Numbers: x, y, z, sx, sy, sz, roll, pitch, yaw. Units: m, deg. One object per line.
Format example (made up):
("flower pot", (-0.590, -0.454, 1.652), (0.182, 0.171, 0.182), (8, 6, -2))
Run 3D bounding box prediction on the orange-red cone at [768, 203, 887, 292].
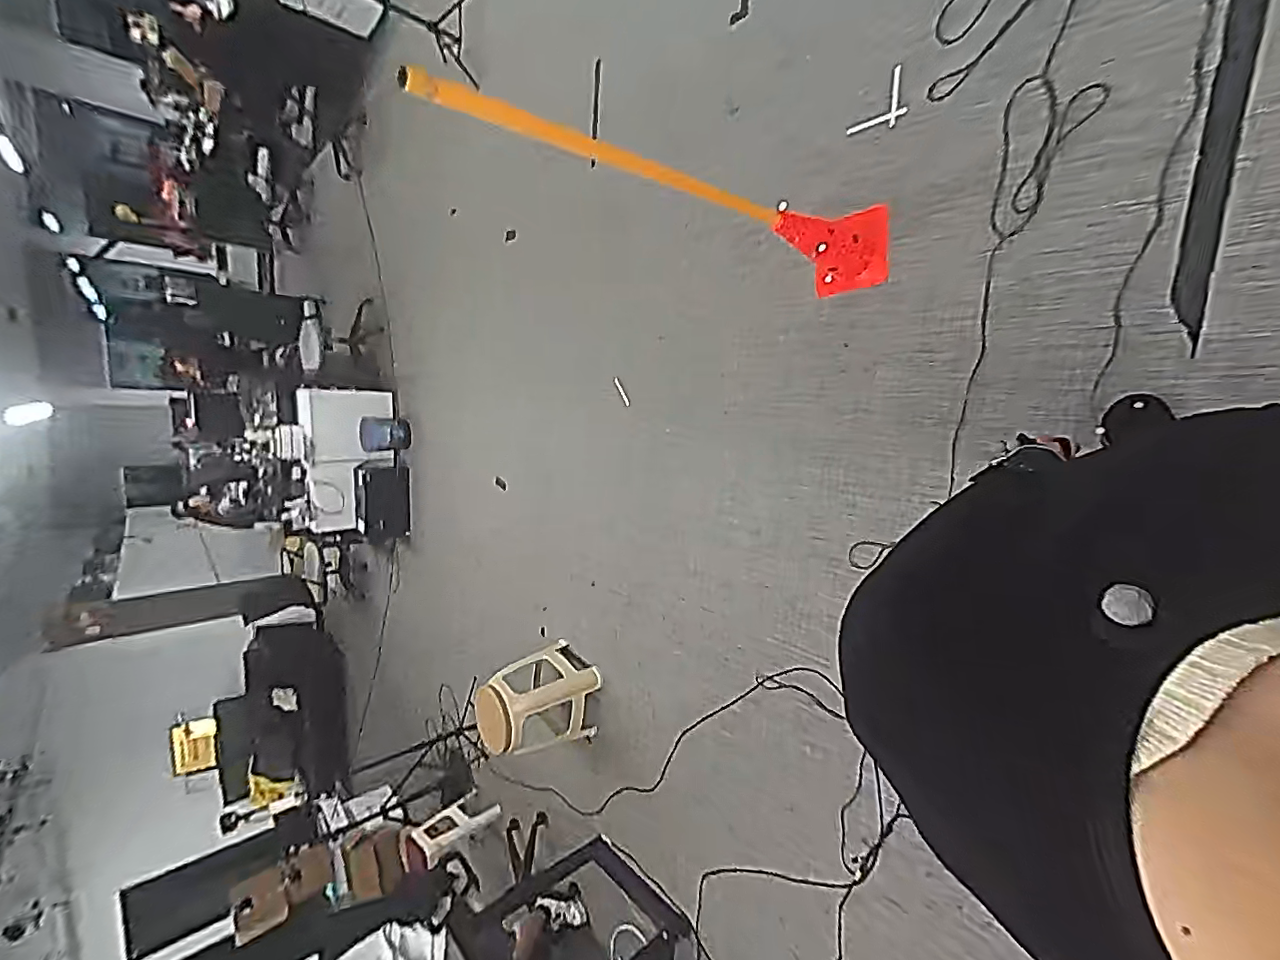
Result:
("orange-red cone", (0.432, -0.601, 1.322), (0.199, 0.360, 0.198), (5, 98, 47))
